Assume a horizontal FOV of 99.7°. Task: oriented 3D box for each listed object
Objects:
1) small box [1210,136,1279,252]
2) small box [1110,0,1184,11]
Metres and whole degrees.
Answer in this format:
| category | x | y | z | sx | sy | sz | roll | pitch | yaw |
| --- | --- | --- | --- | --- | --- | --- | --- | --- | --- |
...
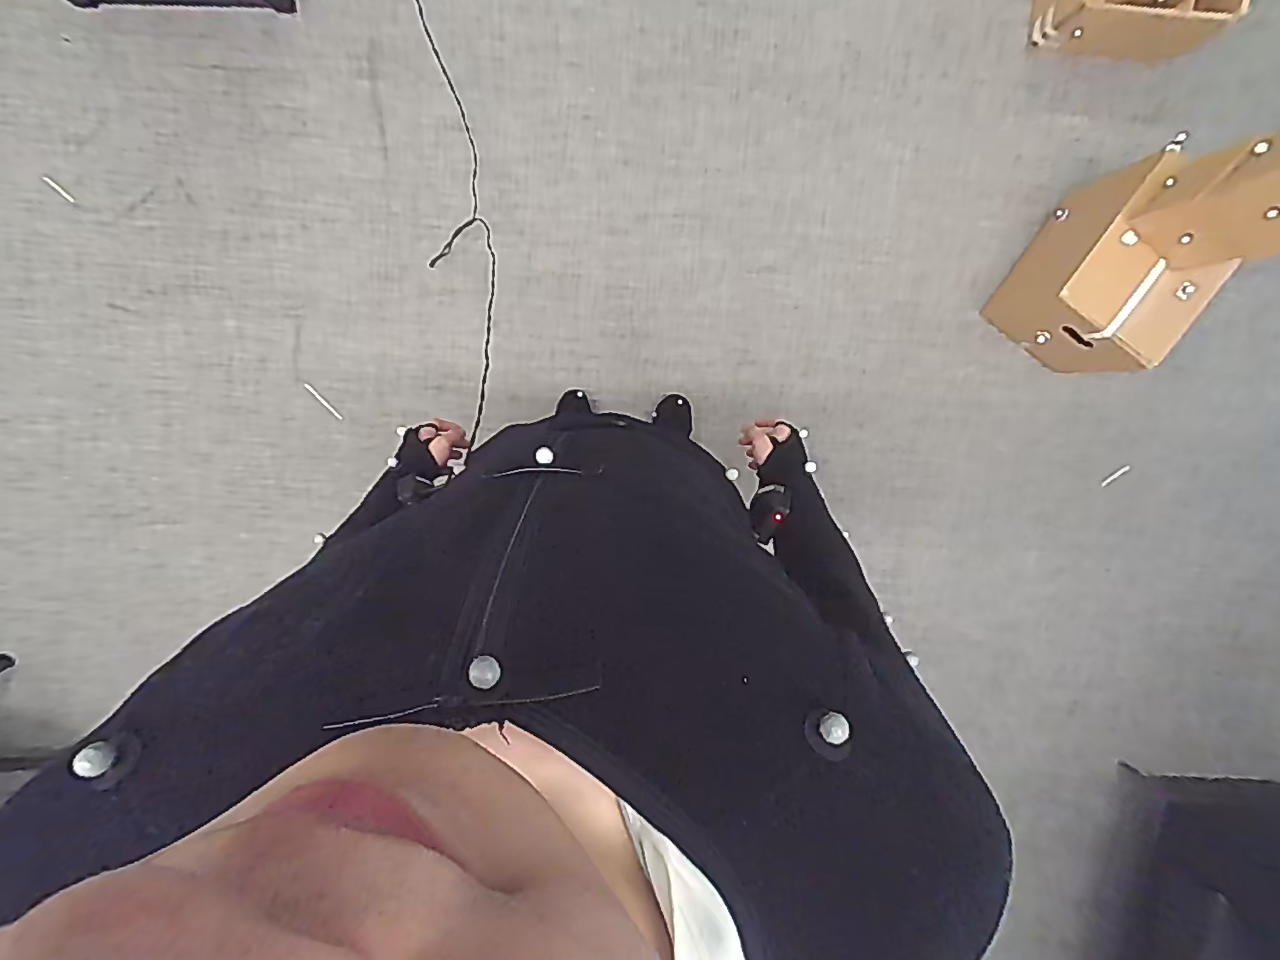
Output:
| category | x | y | z | sx | sy | sz | roll | pitch | yaw |
| --- | --- | --- | --- | --- | --- | --- | --- | --- | --- |
| small box | 1.237 | -0.545 | 0.989 | 0.179 | 0.176 | 0.168 | 44 | 97 | -5 |
| small box | 1.284 | -1.273 | 1.299 | 0.168 | 0.176 | 0.179 | -1 | 99 | 0 |
